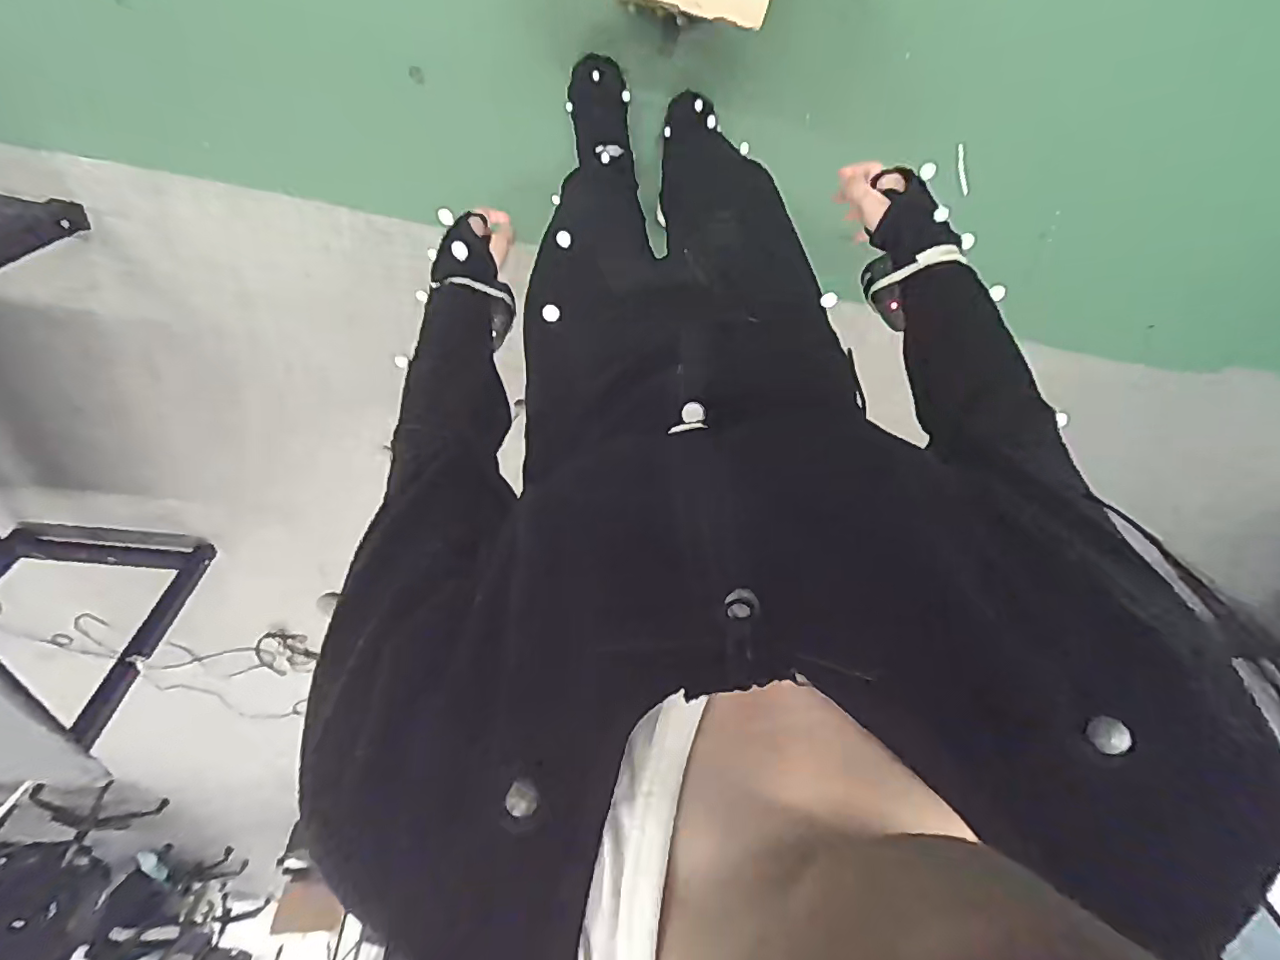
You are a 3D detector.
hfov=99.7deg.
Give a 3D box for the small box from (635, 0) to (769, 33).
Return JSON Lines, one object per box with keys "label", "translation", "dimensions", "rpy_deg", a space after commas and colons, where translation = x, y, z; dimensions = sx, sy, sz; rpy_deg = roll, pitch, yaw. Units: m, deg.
{"label": "small box", "translation": [0.080, -0.677, 0.655], "dimensions": [0.168, 0.176, 0.179], "rpy_deg": [6, 131, -10]}
